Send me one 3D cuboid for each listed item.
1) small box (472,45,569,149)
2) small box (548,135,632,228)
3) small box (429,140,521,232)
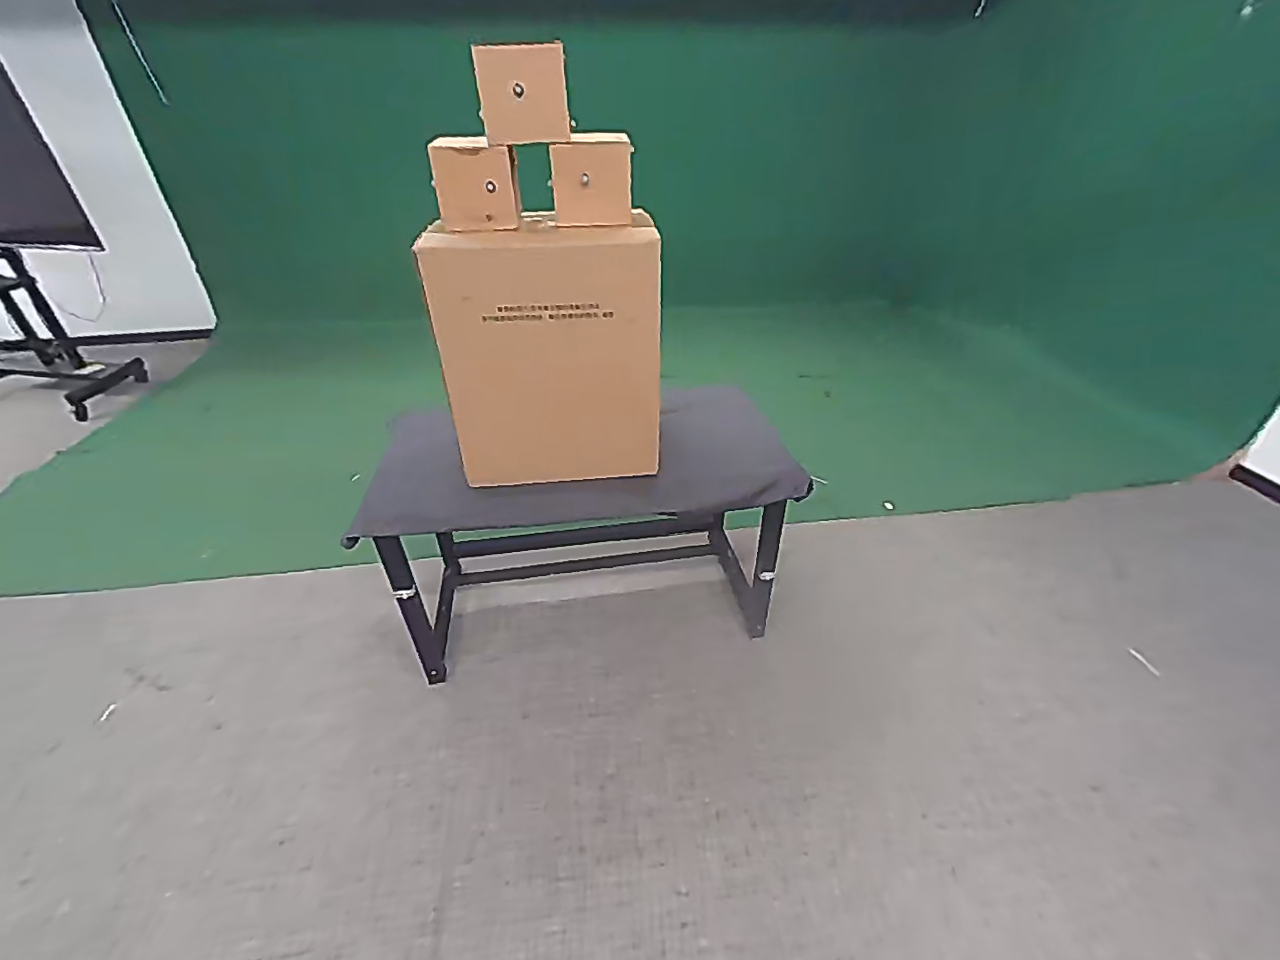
[{"bbox_3d":[-0.245,-0.818,1.154,0.179,0.176,0.168,-6,38,-4],"label":"small box"},{"bbox_3d":[-0.114,-0.697,1.265,0.179,0.176,0.168,-4,38,-3],"label":"small box"},{"bbox_3d":[-0.369,-0.676,1.244,0.168,0.176,0.179,-3,36,-6],"label":"small box"}]
